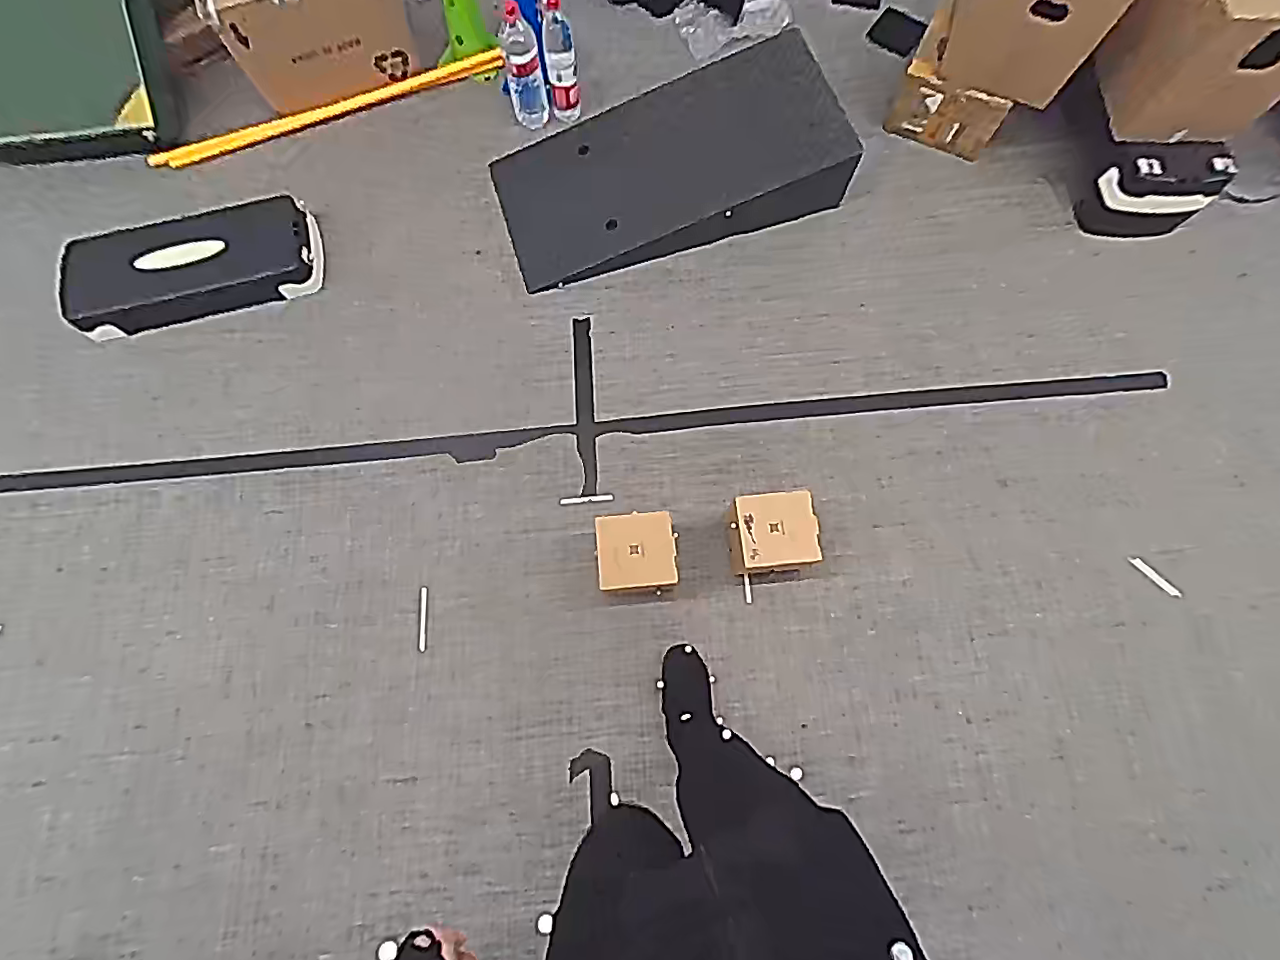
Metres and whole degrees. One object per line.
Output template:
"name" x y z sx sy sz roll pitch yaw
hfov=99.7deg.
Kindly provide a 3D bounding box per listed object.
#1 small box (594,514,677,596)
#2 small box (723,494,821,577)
"small box" -0.012 0.180 1.271 0.179 0.176 0.168 -5 74 -1
"small box" 0.305 0.135 1.283 0.179 0.176 0.168 -5 74 -2
